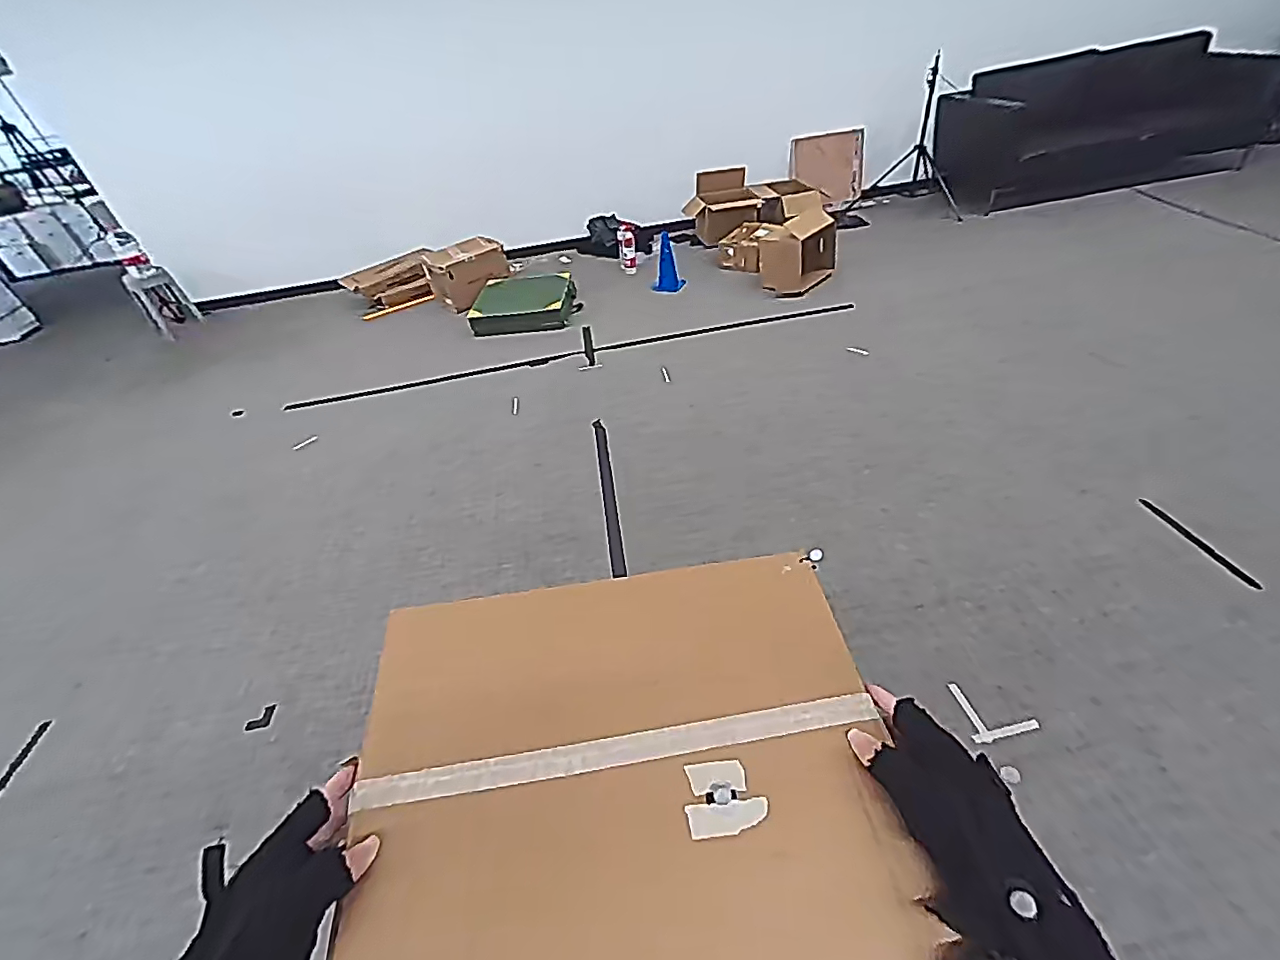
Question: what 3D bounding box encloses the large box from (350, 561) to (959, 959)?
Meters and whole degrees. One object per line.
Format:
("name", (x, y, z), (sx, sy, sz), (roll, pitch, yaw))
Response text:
("large box", (-0.004, 0.321, 0.542), (0.408, 0.320, 0.320), (-8, 47, -4))
